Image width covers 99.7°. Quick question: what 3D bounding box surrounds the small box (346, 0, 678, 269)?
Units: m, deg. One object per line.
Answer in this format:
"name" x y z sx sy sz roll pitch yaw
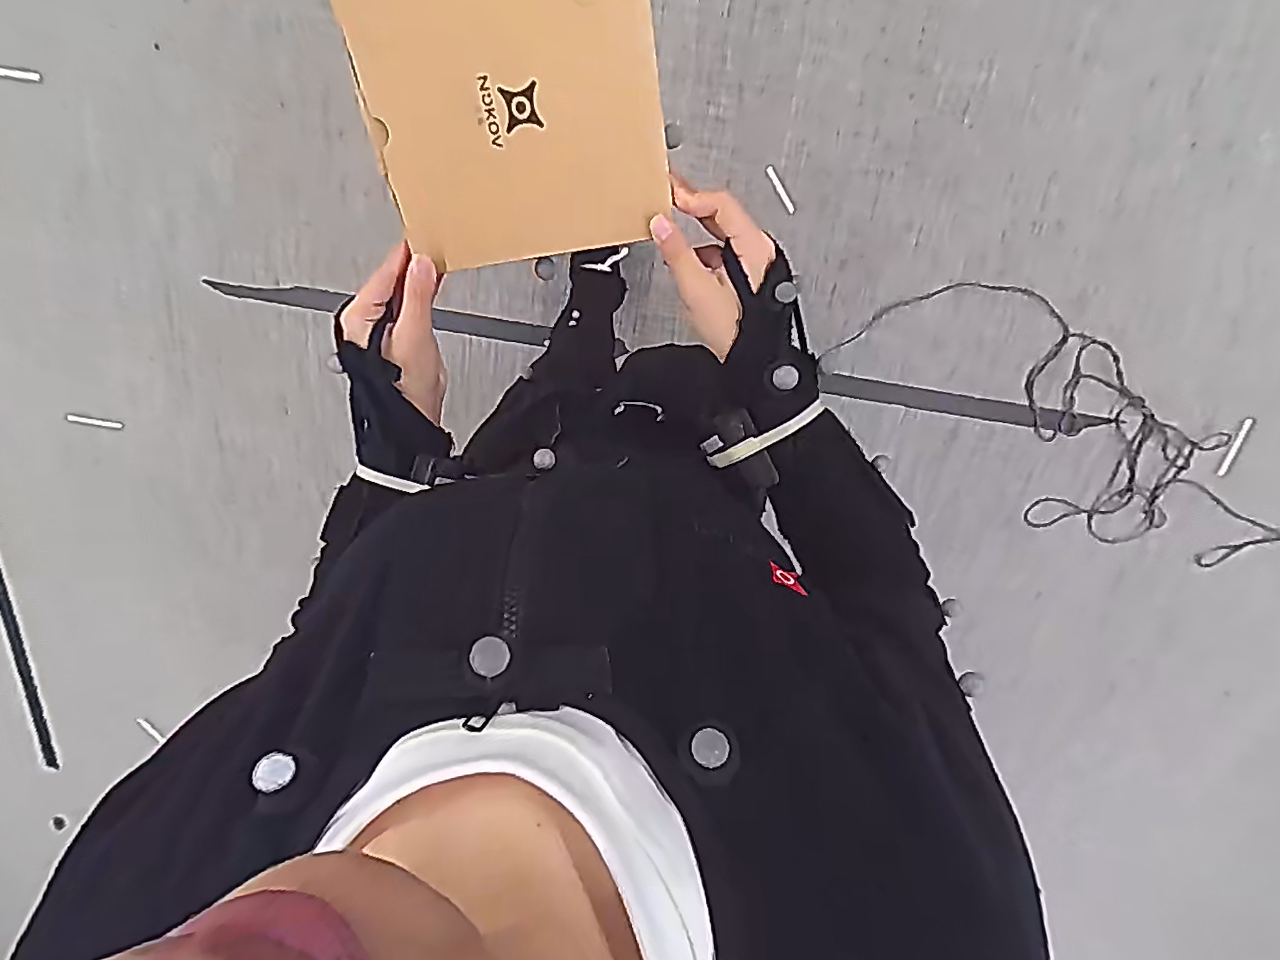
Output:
"small box" -0.070 -0.261 0.395 0.179 0.176 0.168 -6 117 5
